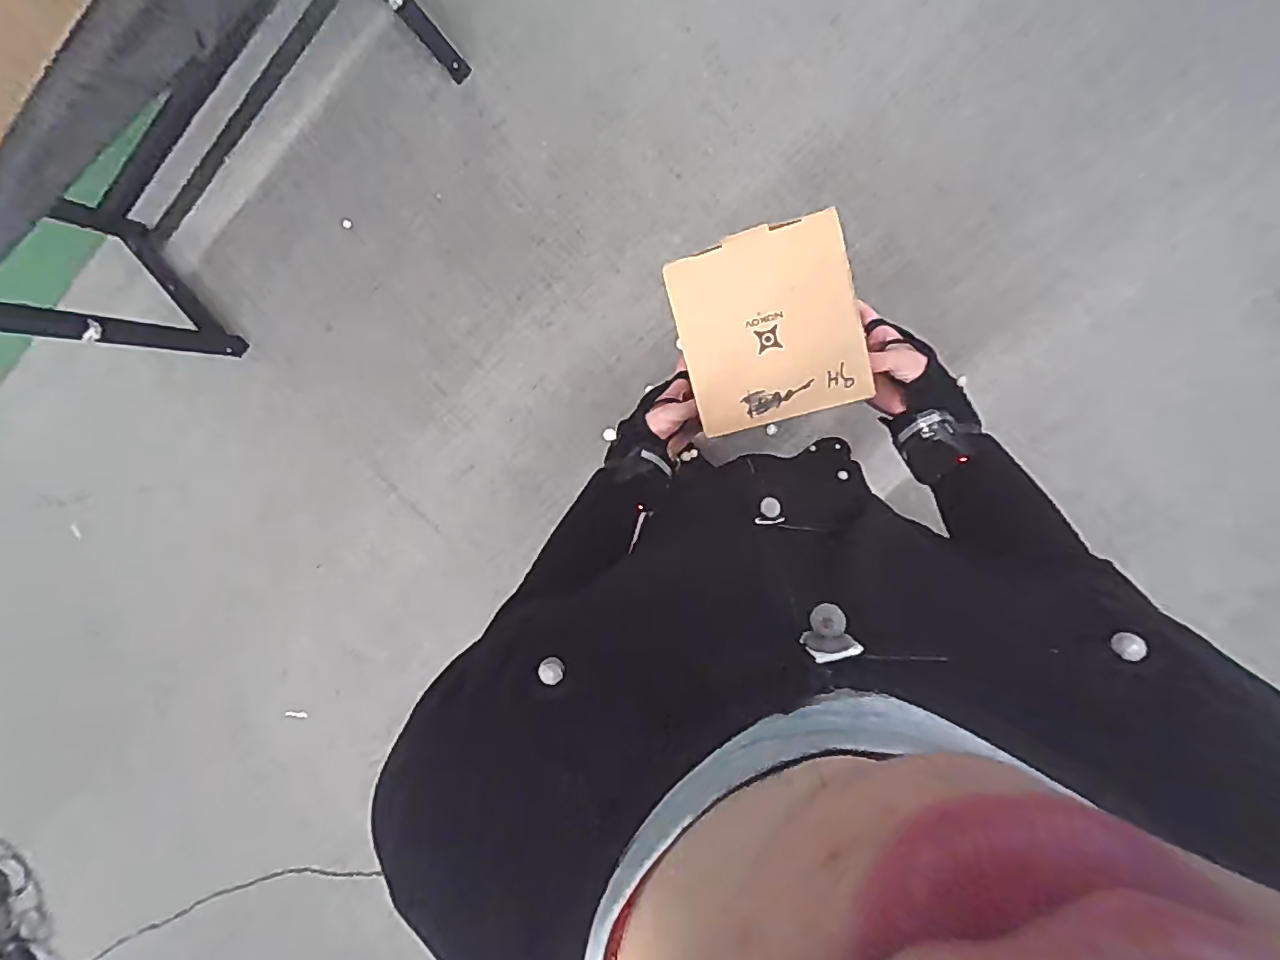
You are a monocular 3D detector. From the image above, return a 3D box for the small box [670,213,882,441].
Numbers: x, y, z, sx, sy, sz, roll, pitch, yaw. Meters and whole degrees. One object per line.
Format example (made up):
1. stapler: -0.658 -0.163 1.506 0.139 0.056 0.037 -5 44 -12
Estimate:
1. small box: 0.142 -0.152 0.587 0.168 0.176 0.179 -15 97 15
